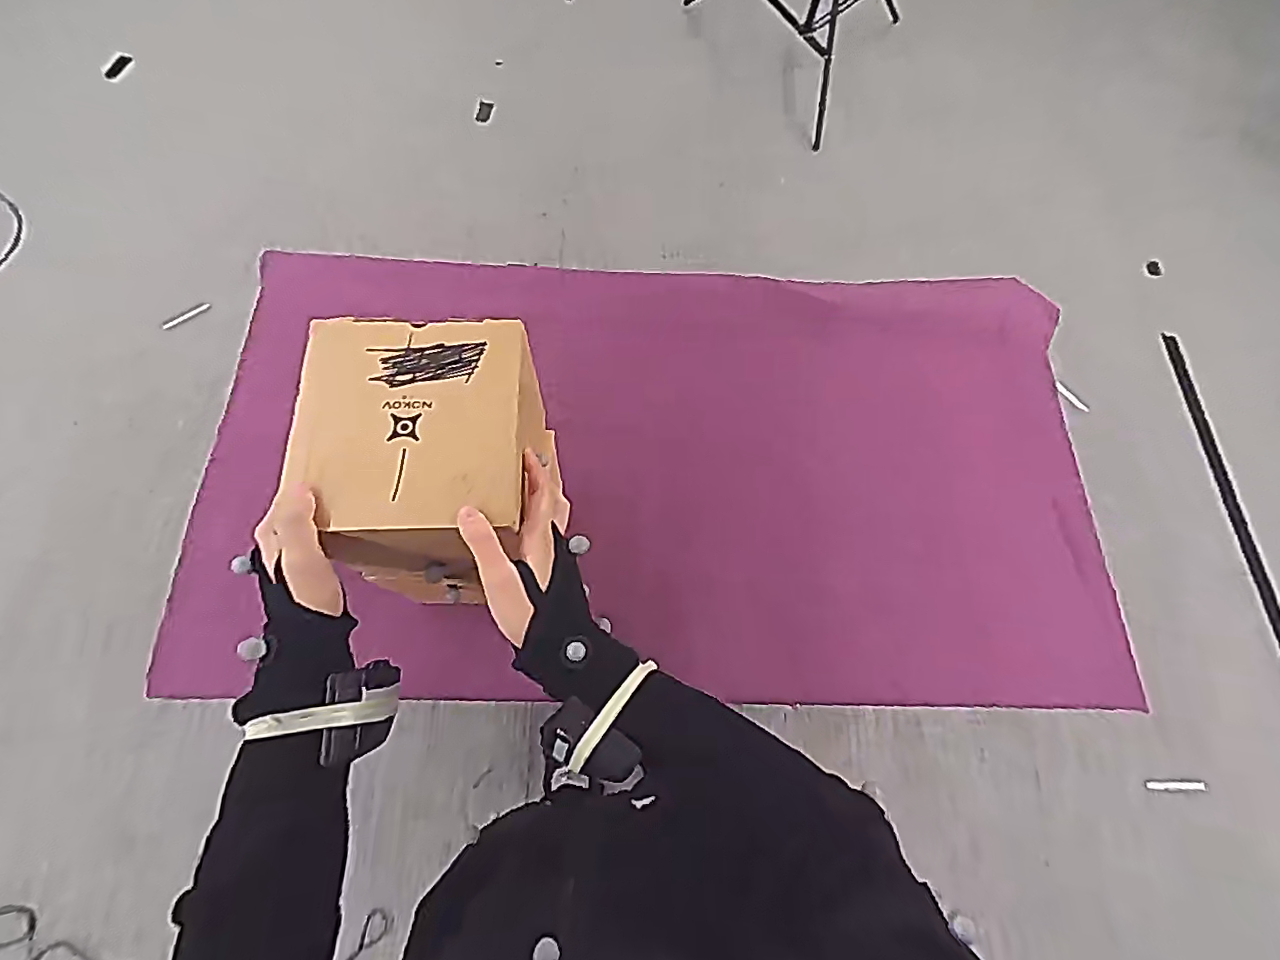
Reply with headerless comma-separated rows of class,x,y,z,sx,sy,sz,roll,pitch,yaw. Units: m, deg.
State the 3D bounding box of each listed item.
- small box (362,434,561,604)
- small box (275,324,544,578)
small box,-0.188,0.050,0.631,0.179,0.176,0.168,2,70,-3
small box,-0.179,-0.016,0.481,0.168,0.176,0.179,-1,70,-4
